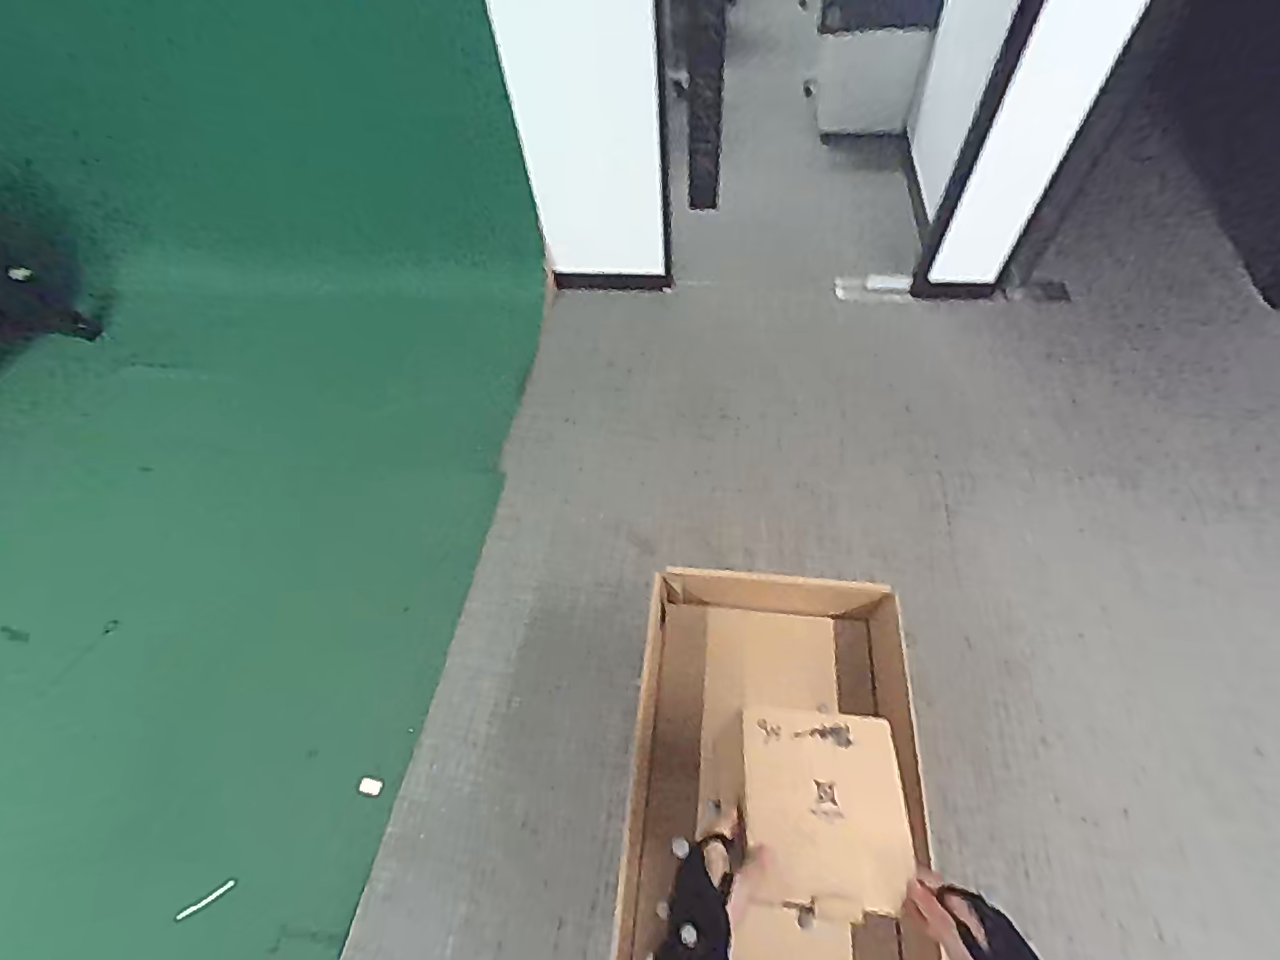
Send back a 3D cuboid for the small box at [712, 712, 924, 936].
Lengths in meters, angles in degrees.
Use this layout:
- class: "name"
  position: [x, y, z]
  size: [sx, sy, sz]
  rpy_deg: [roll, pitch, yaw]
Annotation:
- class: "small box"
  position: [0.177, 0.377, 0.599]
  size: [0.168, 0.176, 0.179]
  rpy_deg: [7, 53, -2]
